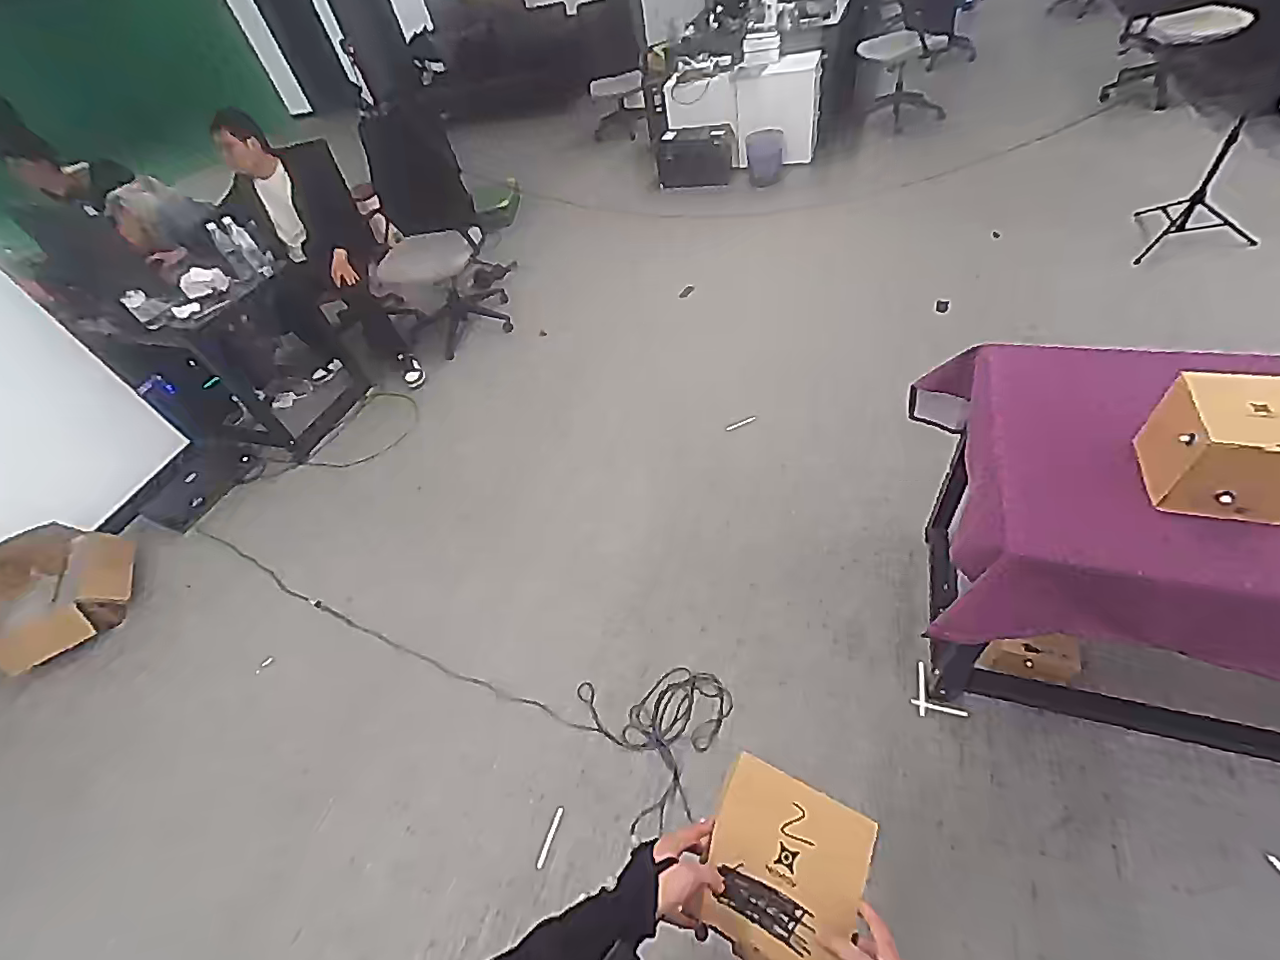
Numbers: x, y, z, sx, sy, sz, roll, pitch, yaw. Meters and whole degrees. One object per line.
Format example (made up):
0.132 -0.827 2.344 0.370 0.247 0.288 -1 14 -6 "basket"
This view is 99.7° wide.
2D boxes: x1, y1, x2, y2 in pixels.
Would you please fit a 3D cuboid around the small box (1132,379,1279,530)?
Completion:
0.976 -0.044 0.904 0.168 0.176 0.179 8 52 19 "small box"
